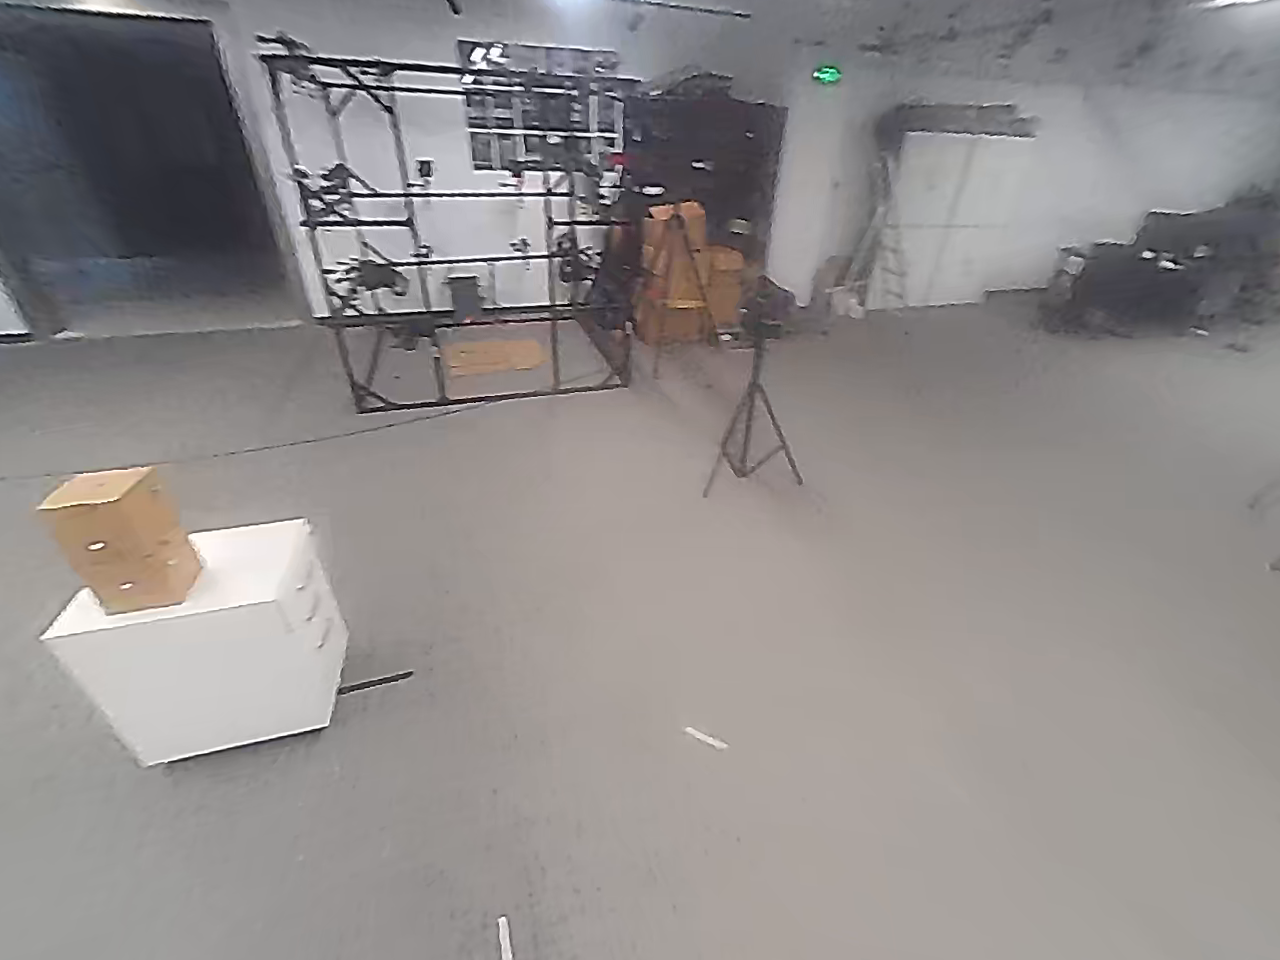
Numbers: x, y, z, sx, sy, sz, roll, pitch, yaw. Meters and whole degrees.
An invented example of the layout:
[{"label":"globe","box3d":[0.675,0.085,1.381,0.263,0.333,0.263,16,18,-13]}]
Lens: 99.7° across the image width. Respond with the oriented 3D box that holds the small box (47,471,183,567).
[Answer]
[{"label":"small box","box3d":[-1.315,0.096,1.375,0.168,0.176,0.179,-8,32,-12]}]
